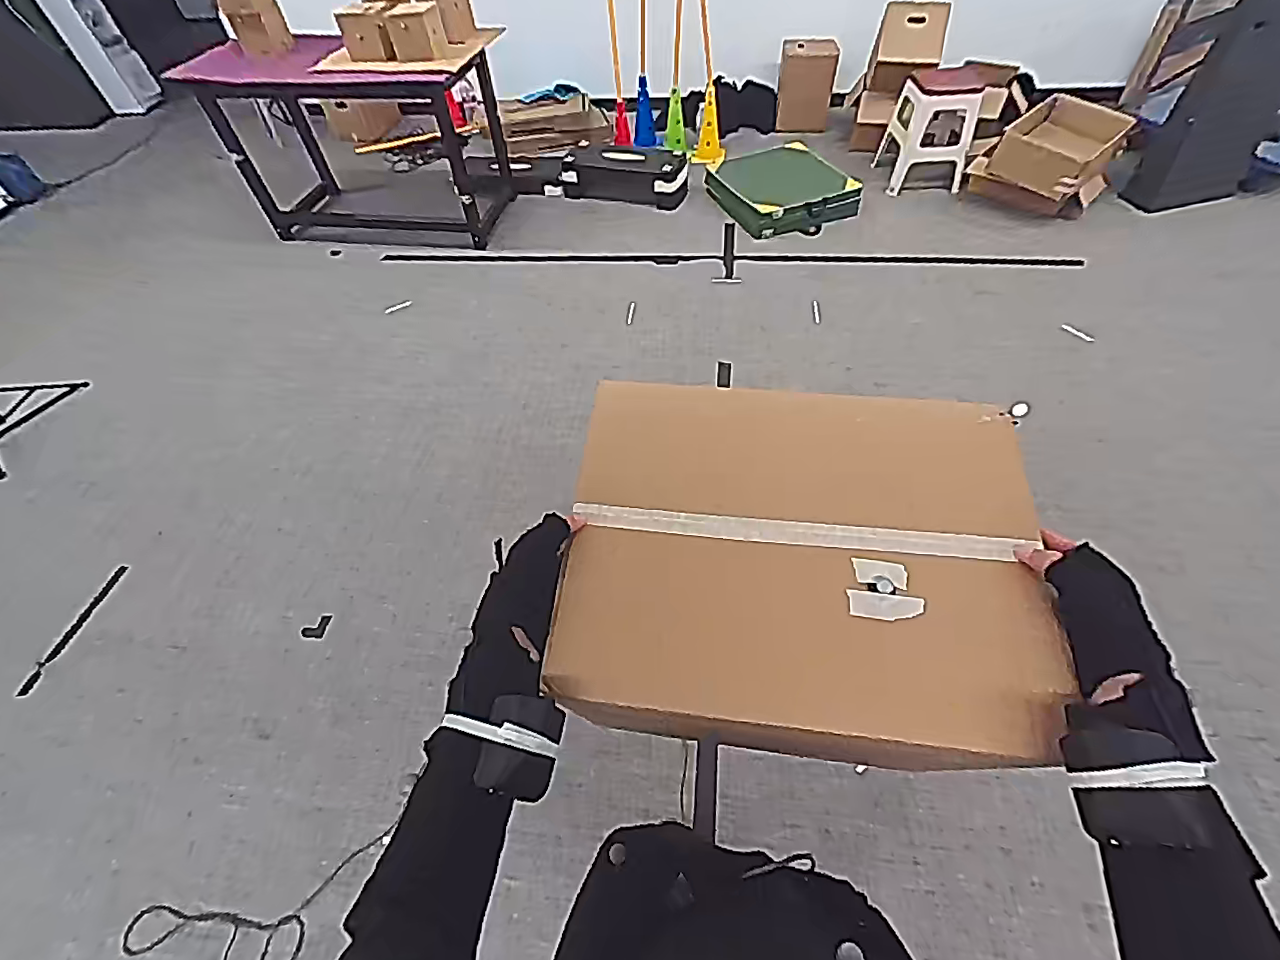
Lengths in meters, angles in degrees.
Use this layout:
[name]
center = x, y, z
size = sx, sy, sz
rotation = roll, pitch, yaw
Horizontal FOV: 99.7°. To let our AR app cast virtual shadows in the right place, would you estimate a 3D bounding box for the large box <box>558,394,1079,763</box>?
[large box]
center = 0.150, 0.126, 0.615
size = 0.408, 0.320, 0.320
rotation = 5, 63, 6
